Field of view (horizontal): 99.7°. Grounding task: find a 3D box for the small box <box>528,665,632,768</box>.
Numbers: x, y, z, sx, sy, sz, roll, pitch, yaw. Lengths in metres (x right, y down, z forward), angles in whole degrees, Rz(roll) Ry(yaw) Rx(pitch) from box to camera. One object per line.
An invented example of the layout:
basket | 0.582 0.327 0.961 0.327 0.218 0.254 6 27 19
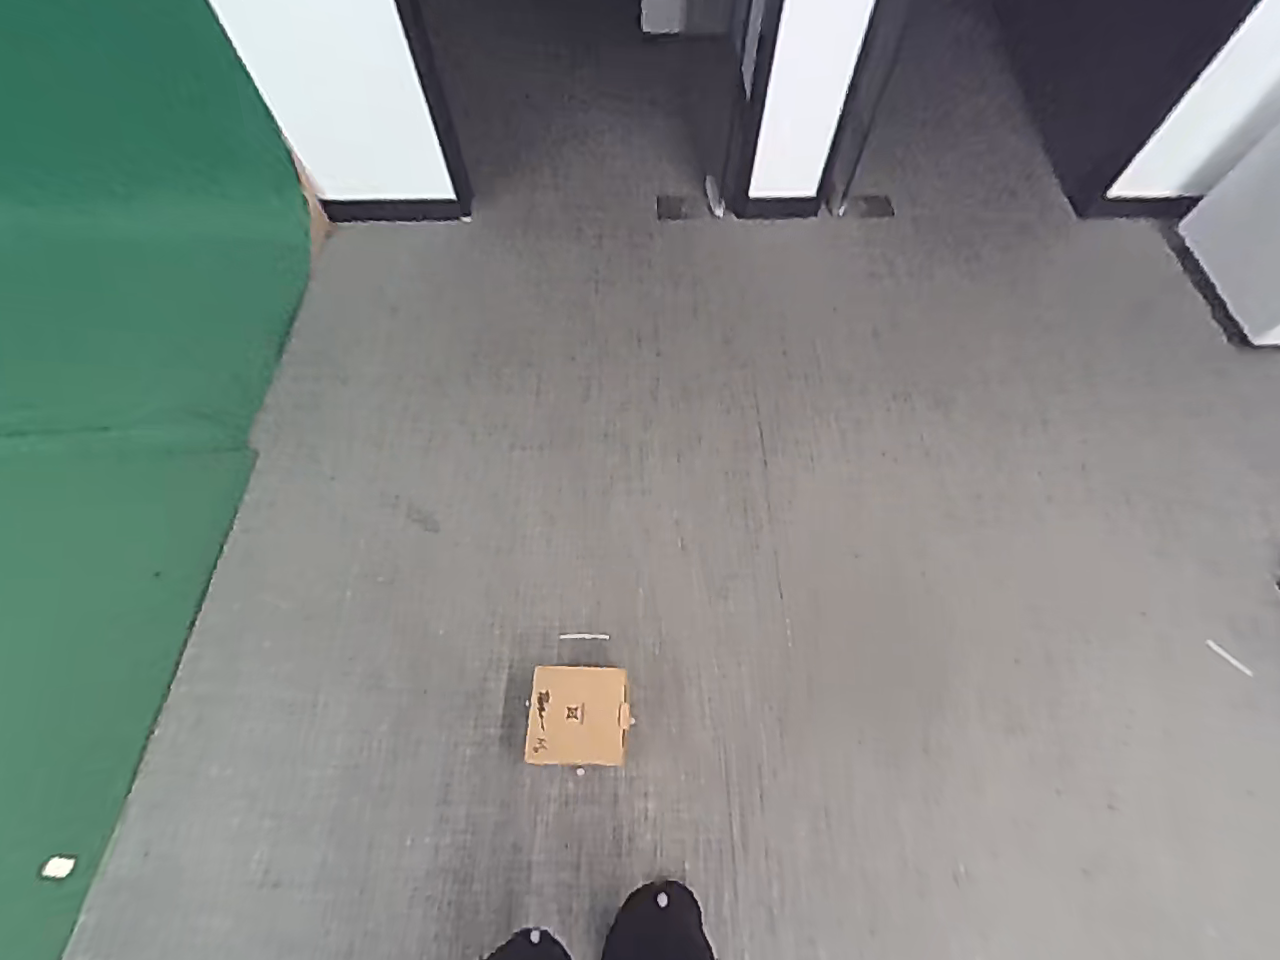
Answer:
small box | -0.107 0.465 1.057 0.179 0.176 0.168 2 62 2
